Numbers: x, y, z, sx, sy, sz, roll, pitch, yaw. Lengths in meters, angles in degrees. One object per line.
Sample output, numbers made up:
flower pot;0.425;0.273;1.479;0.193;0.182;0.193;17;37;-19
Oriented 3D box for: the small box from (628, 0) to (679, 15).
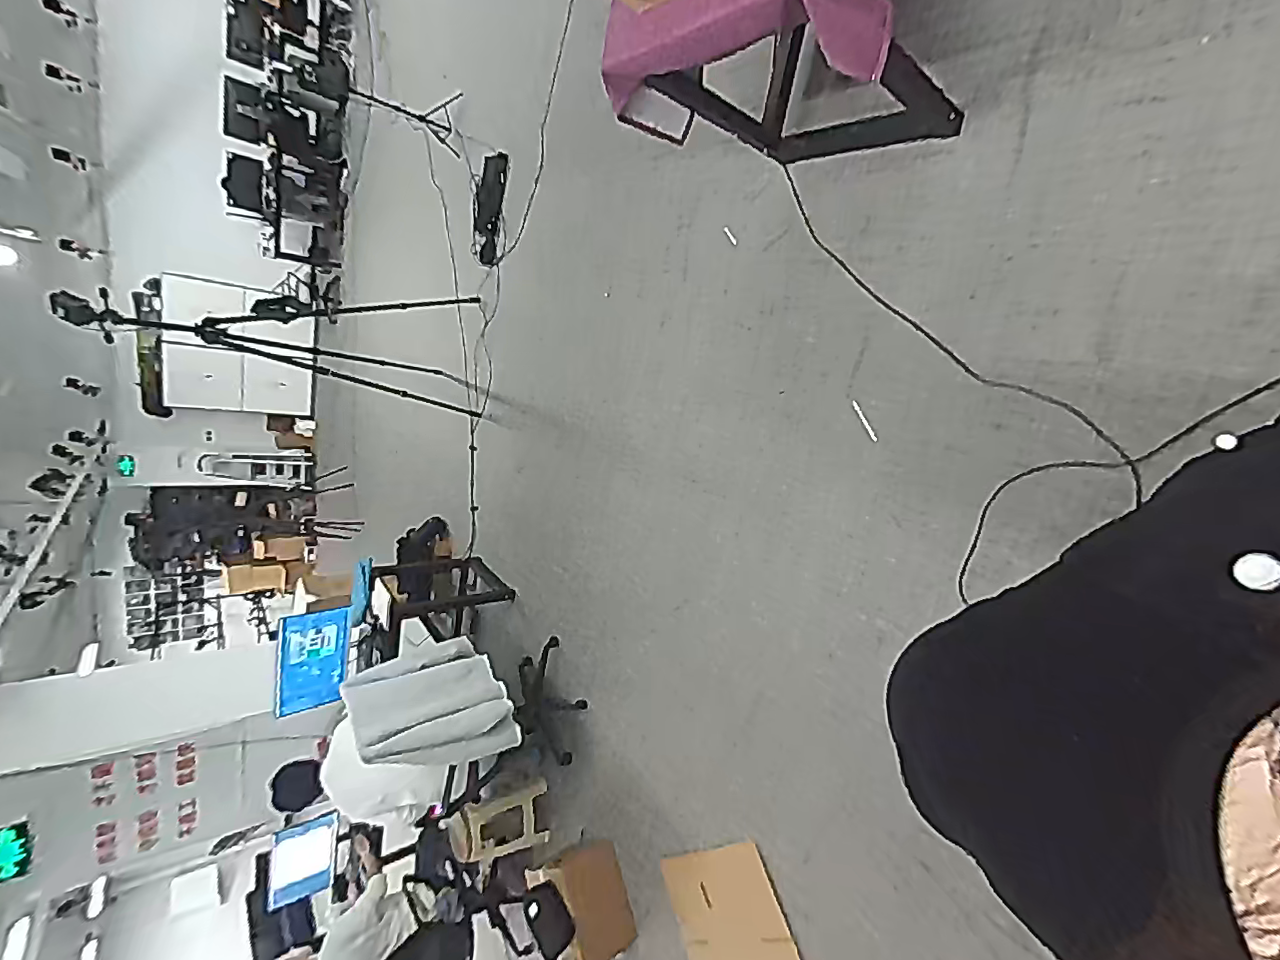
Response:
small box;0.015;-1.136;1.129;0.168;0.176;0.179;29;112;47
